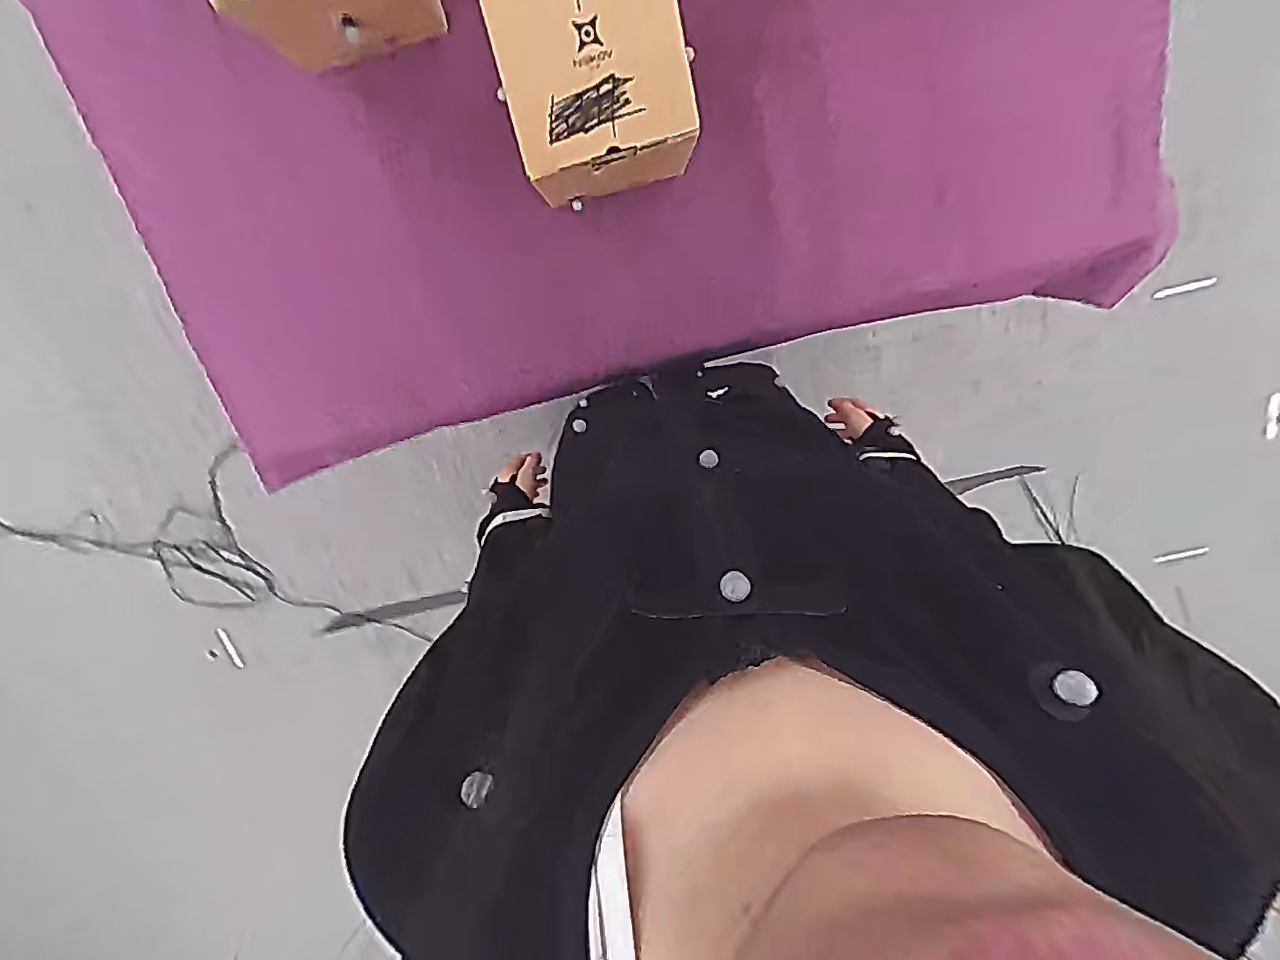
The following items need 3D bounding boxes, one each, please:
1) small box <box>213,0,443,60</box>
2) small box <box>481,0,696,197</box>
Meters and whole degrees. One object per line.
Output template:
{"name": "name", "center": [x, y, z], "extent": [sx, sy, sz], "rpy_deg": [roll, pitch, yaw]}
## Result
{"name": "small box", "center": [-0.307, -0.527, 0.500], "extent": [0.168, 0.176, 0.179], "rpy_deg": [-15, 110, 3]}
{"name": "small box", "center": [-0.045, -0.404, 0.547], "extent": [0.168, 0.176, 0.179], "rpy_deg": [-13, 107, 3]}
